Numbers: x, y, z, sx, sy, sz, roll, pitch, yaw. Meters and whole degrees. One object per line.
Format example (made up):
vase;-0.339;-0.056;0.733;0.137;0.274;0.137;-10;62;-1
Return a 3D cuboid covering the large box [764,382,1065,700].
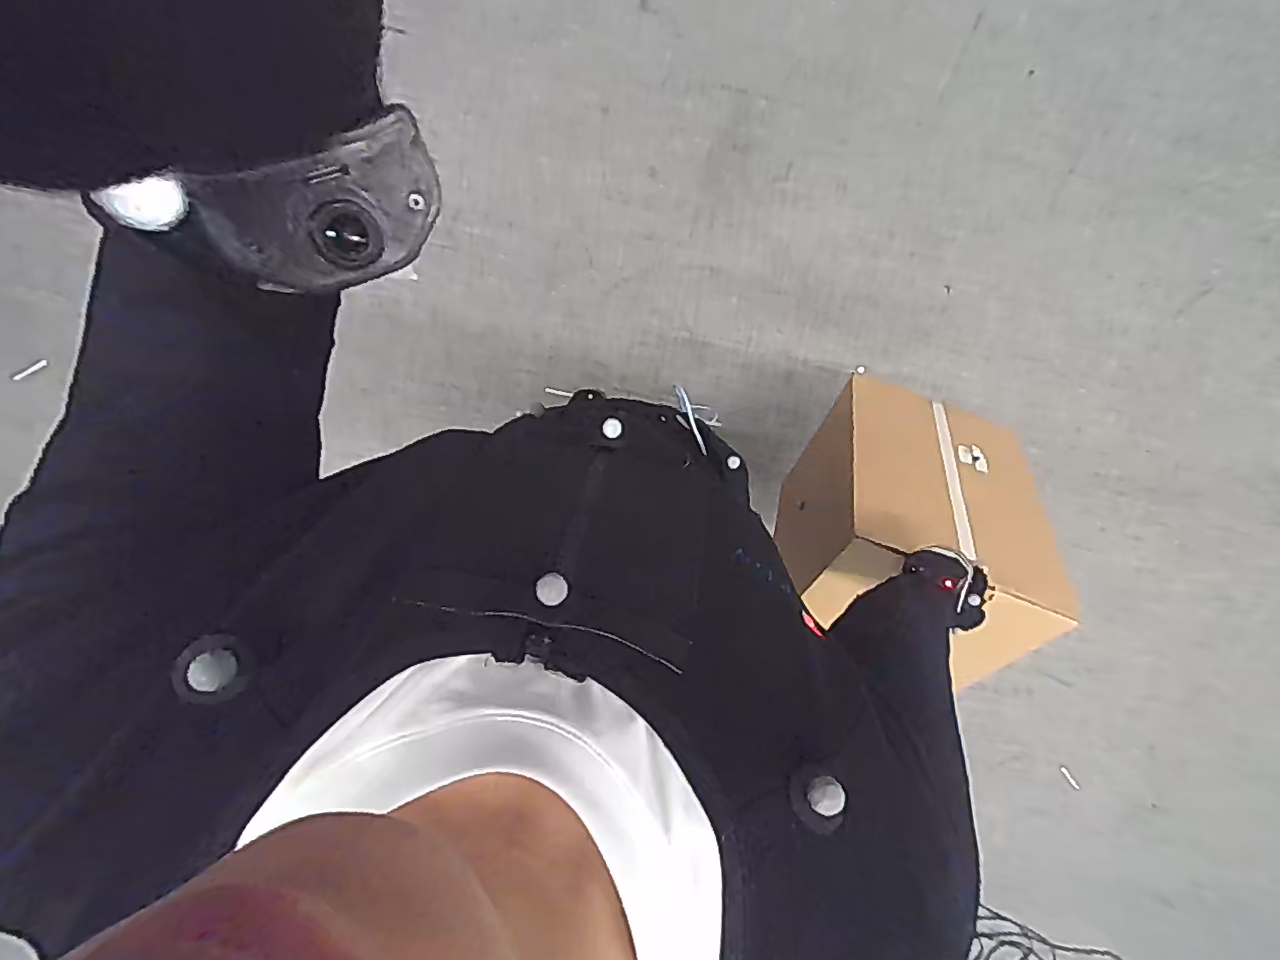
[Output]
large box;0.434;0.101;0.957;0.320;0.408;0.320;22;135;0
